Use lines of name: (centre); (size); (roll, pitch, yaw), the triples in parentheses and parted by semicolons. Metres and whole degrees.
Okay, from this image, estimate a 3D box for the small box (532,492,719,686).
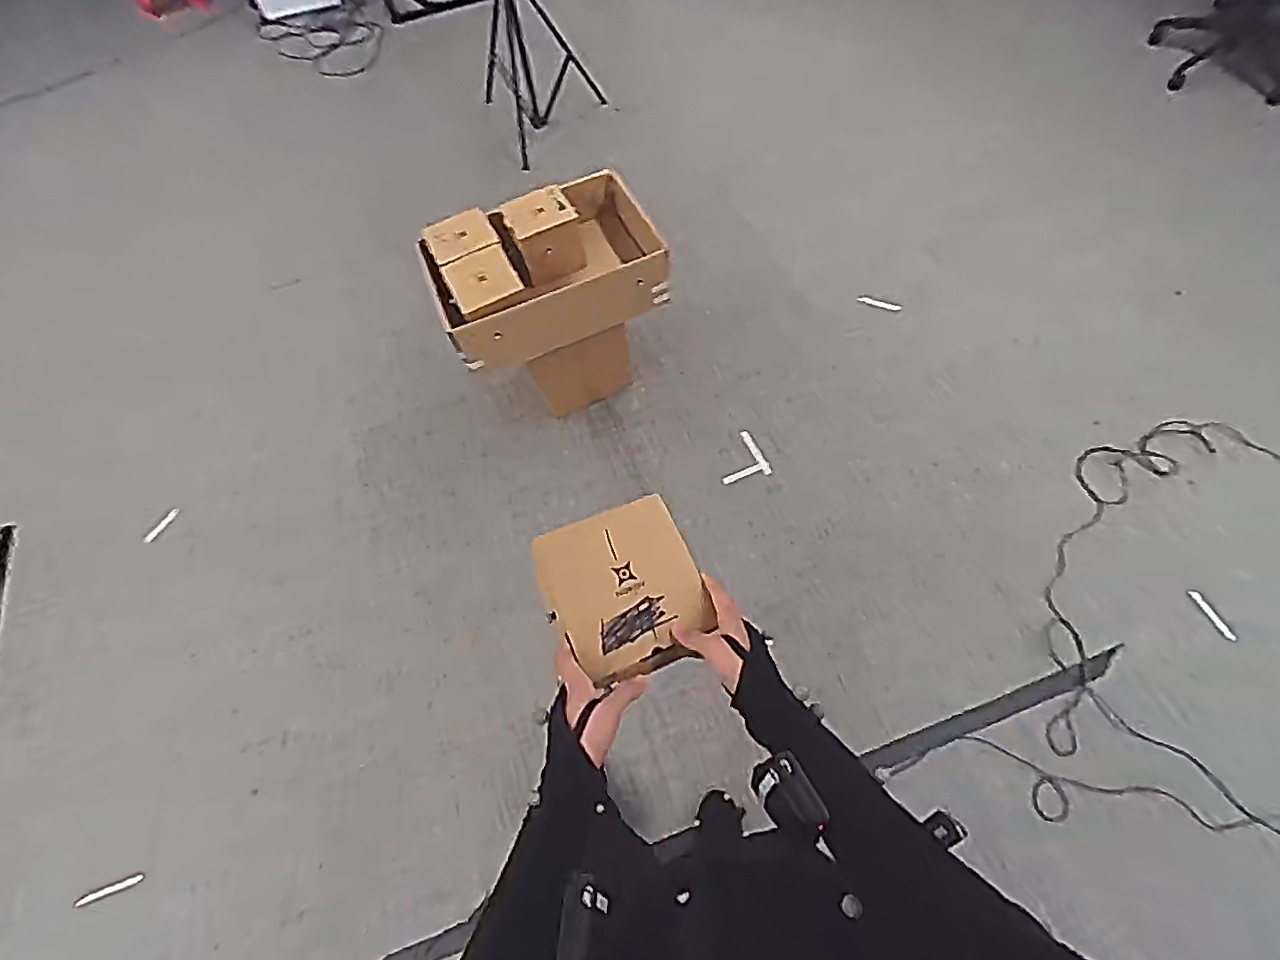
small box: (-0.026, 0.145, 0.680); (0.168, 0.176, 0.179); (-19, 69, -16)
